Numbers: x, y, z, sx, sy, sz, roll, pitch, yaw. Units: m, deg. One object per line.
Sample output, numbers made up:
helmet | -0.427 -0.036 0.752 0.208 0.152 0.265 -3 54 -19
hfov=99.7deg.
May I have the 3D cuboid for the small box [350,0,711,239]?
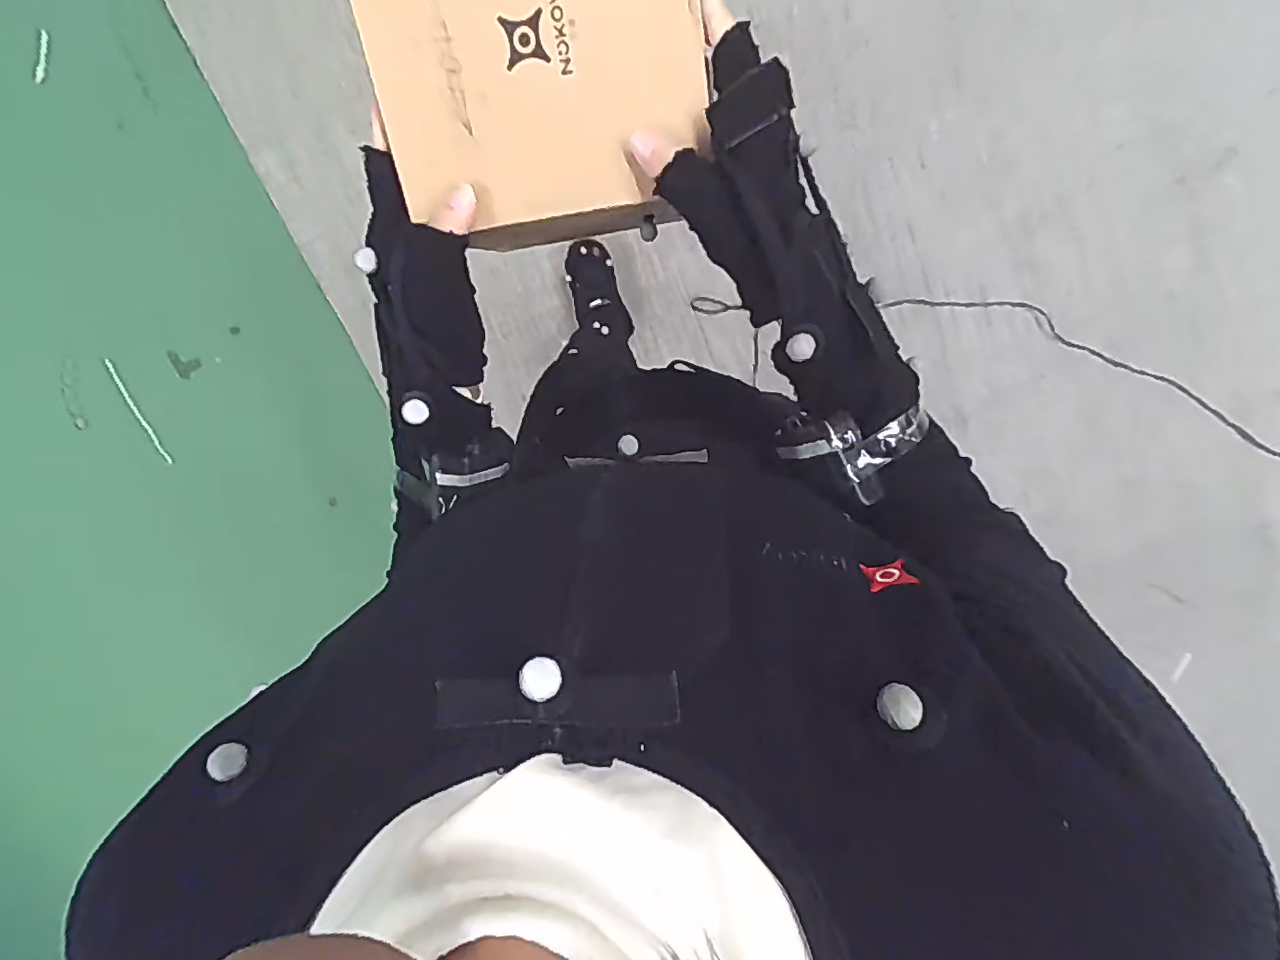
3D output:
small box | -0.055 -0.262 0.350 0.179 0.176 0.168 -8 109 7
